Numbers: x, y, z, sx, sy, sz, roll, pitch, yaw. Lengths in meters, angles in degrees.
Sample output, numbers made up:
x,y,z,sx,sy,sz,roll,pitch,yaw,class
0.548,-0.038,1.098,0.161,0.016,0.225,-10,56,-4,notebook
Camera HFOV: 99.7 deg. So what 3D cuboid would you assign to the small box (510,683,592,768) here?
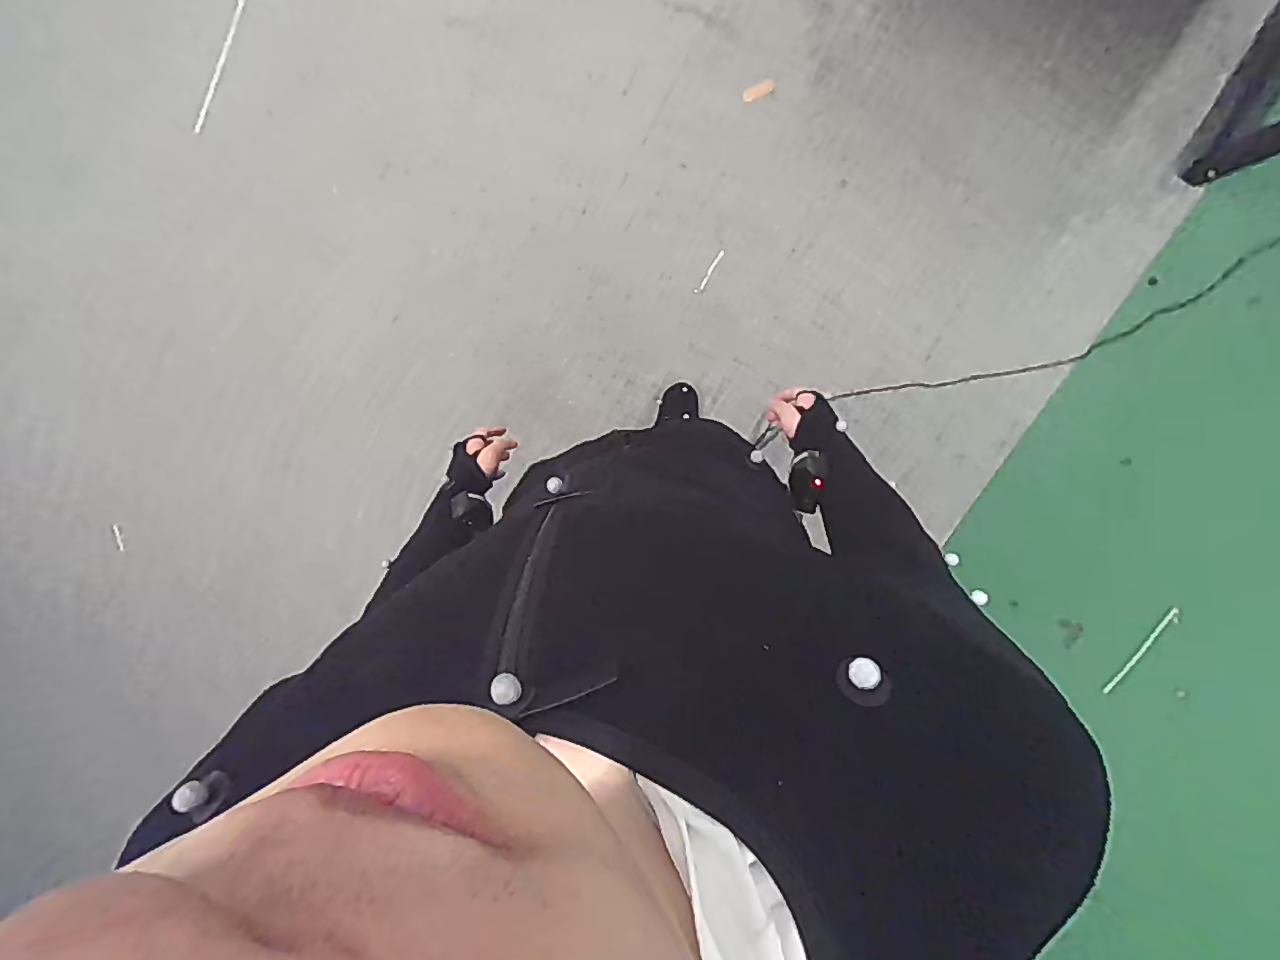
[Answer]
x,y,z,sx,sy,sz,roll,pitch,yaw,class
-0.272,0.781,1.710,0.179,0.176,0.168,35,101,0,small box
